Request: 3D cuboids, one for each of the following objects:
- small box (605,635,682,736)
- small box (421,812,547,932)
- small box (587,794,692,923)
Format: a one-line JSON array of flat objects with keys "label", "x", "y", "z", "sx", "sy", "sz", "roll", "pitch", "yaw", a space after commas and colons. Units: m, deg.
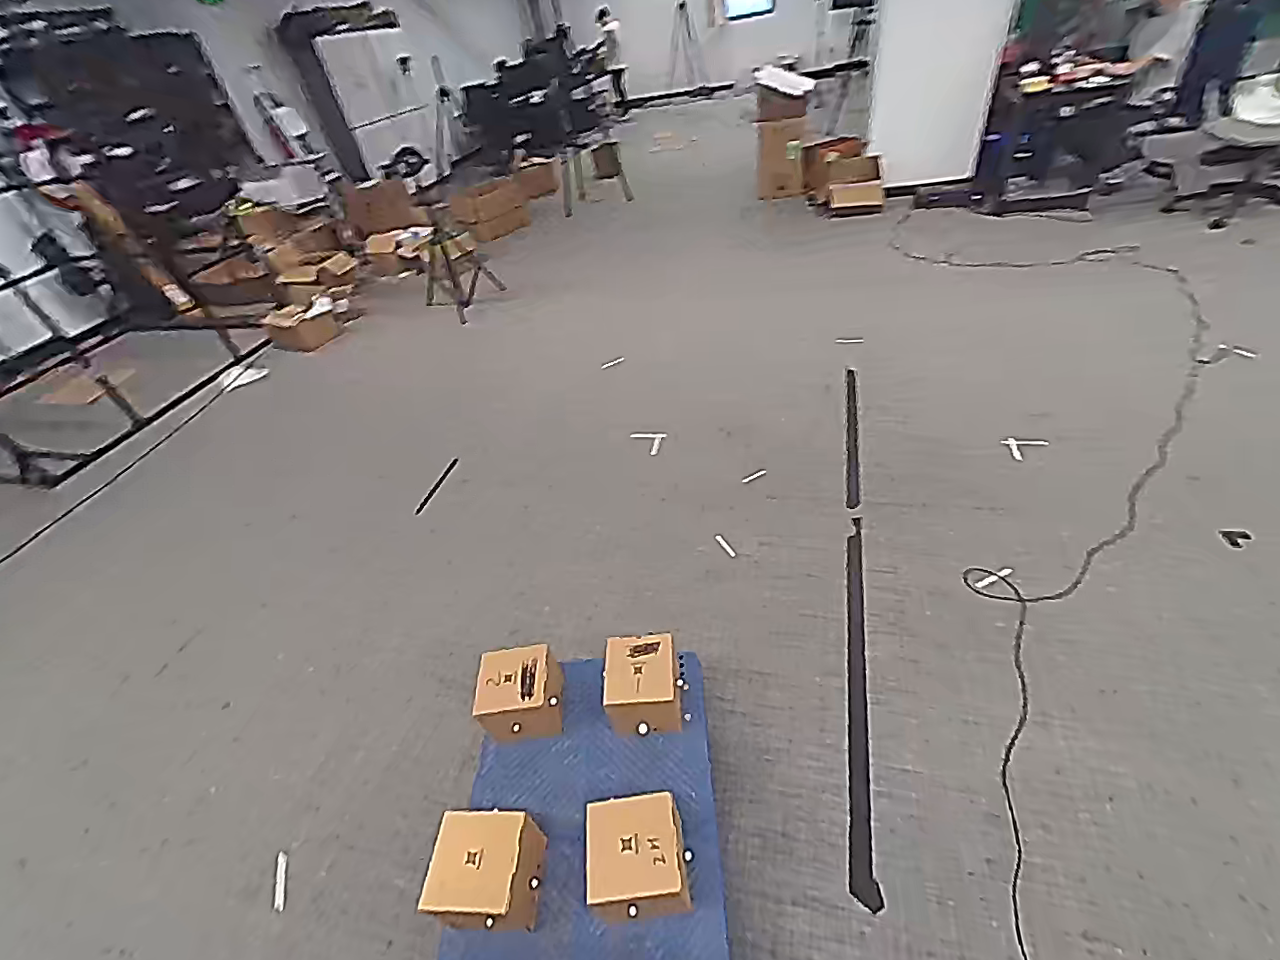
[{"label": "small box", "x": 0.013, "y": 0.511, "z": 1.345, "sx": 0.168, "sy": 0.176, "sz": 0.179, "roll": -6, "pitch": 42, "yaw": 7}, {"label": "small box", "x": -0.305, "y": 0.796, "z": 1.097, "sx": 0.179, "sy": 0.176, "sz": 0.168, "roll": -4, "pitch": 41, "yaw": 7}, {"label": "small box", "x": 0.000, "y": 0.752, "z": 1.071, "sx": 0.179, "sy": 0.176, "sz": 0.168, "roll": -10, "pitch": 40, "yaw": 3}]
